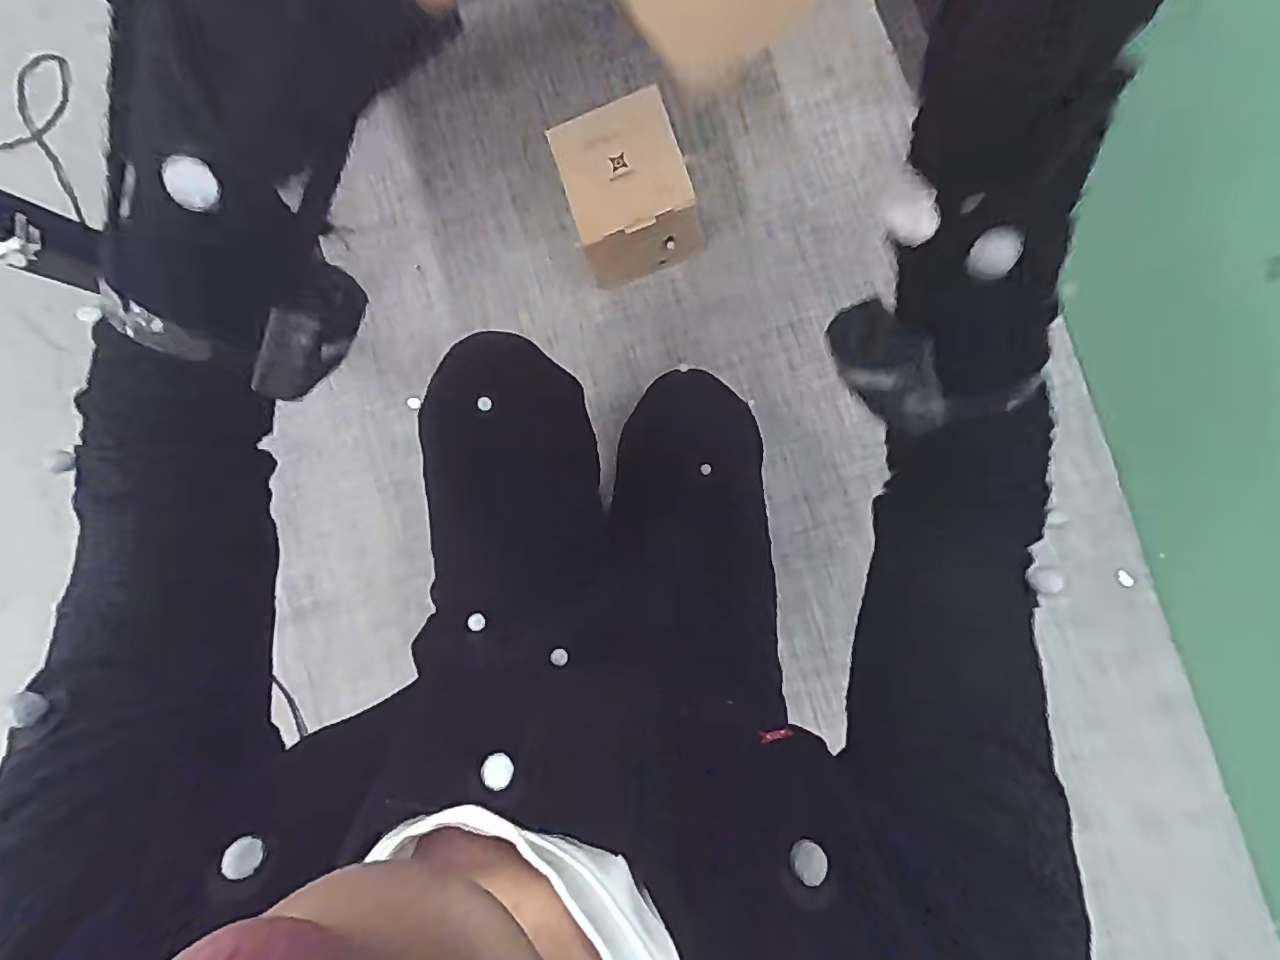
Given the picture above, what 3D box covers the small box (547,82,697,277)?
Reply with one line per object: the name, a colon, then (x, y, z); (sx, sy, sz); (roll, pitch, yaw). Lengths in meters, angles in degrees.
small box: (-0.016, -0.431, 0.815); (0.168, 0.176, 0.179); (-19, 85, 6)
